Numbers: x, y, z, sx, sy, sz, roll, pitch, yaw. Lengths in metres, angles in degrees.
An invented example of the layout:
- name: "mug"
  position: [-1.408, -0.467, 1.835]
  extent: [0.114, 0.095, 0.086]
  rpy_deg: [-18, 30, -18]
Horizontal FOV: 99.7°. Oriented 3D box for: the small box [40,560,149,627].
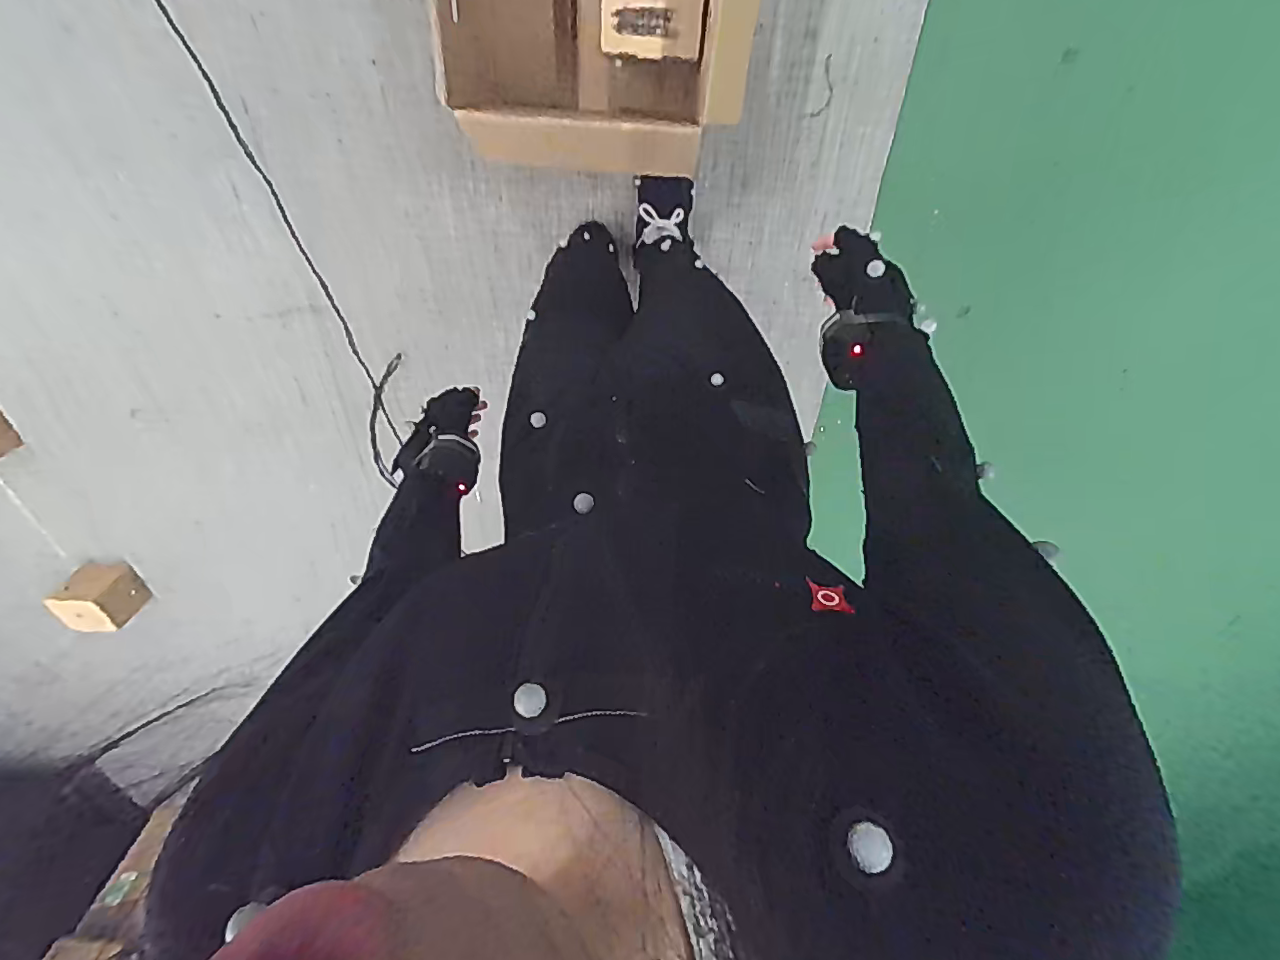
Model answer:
- name: "small box"
  position: [-1.917, 0.397, 1.912]
  extent: [0.179, 0.176, 0.168]
  rpy_deg: [1, 128, 0]
